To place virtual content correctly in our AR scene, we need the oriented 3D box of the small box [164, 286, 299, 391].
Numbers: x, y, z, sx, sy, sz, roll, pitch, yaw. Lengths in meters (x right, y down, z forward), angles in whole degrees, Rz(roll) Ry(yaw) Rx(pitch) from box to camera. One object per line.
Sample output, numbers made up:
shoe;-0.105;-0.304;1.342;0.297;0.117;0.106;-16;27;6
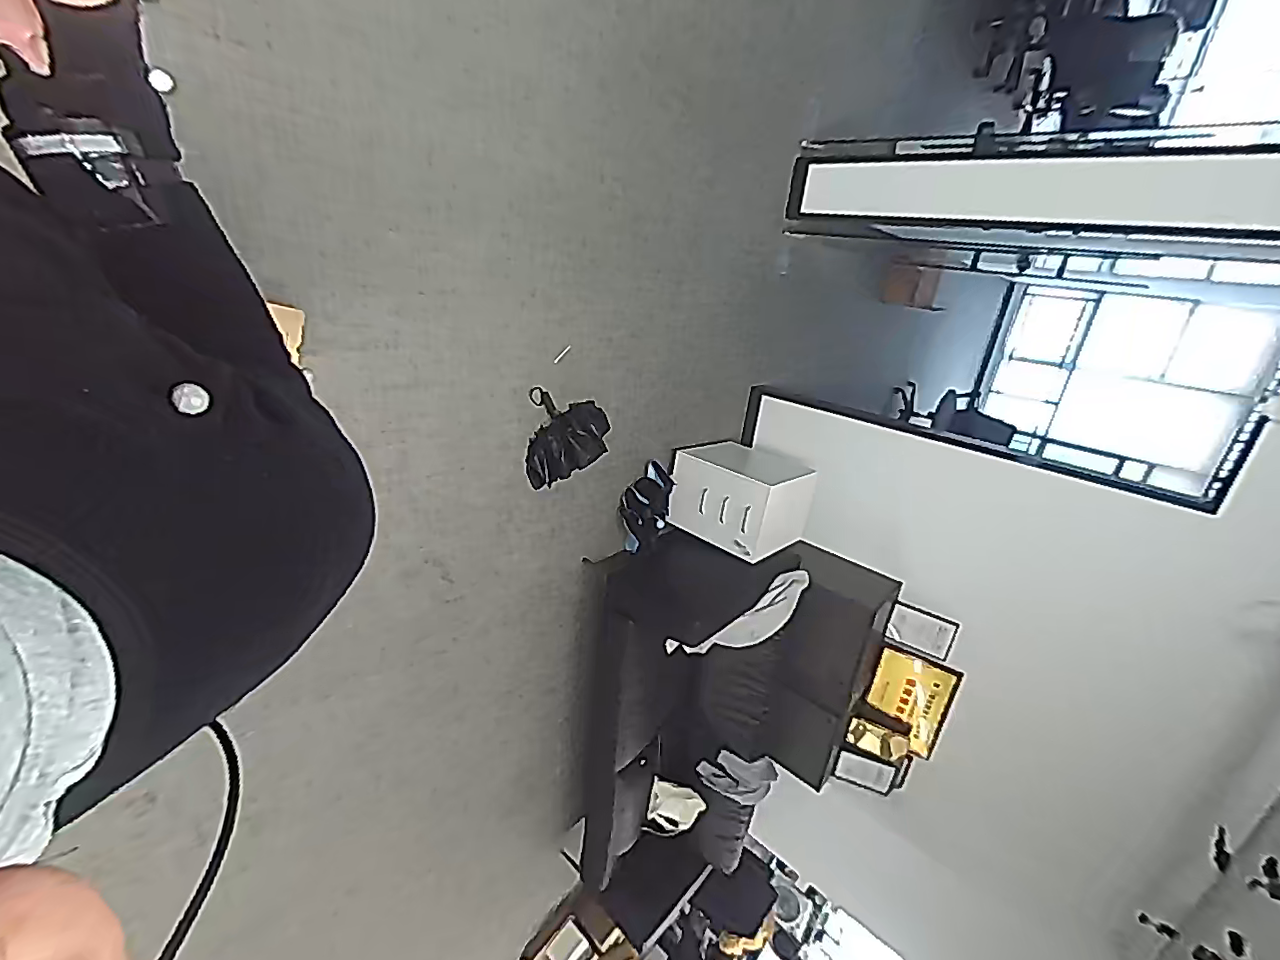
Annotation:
small box;-0.834;-0.289;1.105;0.179;0.176;0.168;-1;108;-52
